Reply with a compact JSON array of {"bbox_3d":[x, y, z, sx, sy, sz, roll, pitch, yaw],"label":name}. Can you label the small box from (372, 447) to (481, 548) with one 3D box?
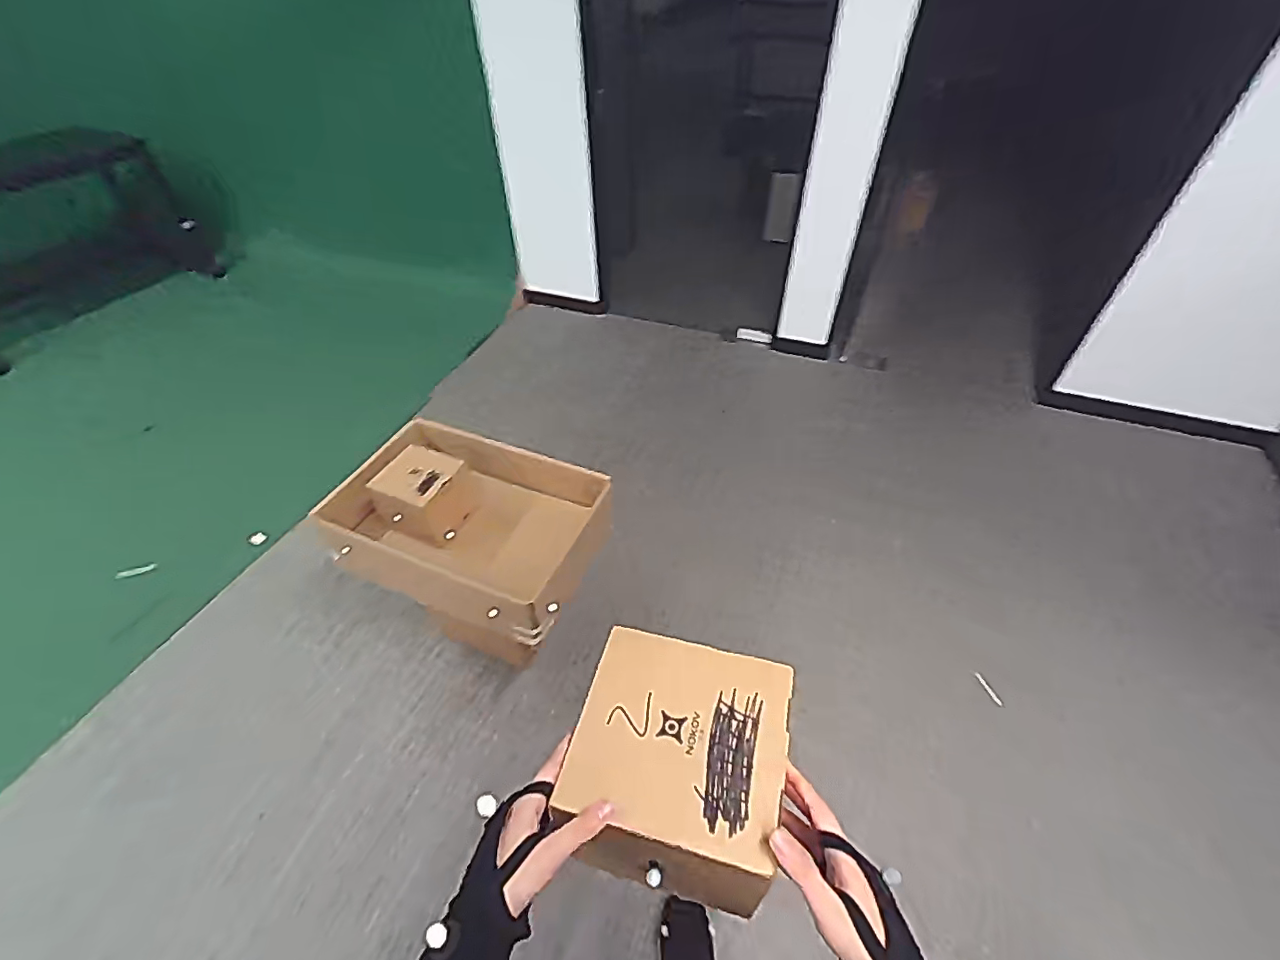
[{"bbox_3d":[-0.530,0.049,1.373,0.179,0.176,0.168,18,49,18],"label":"small box"}]
